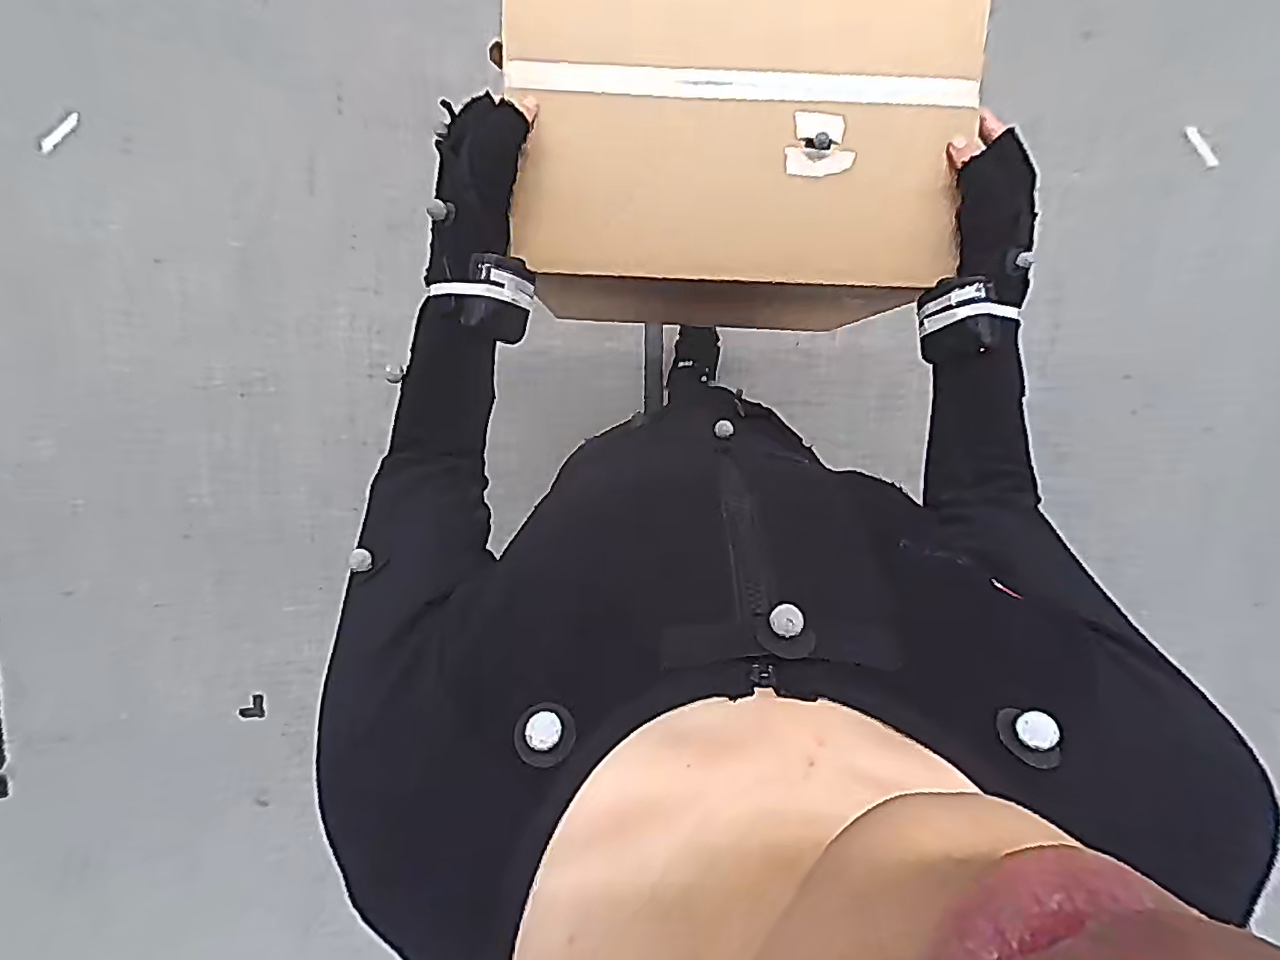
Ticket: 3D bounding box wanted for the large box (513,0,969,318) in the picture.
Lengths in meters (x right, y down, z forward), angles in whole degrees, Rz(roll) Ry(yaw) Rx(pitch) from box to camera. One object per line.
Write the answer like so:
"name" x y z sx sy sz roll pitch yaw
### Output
"large box" 0.082 -0.370 0.626 0.408 0.320 0.320 1 99 -2
